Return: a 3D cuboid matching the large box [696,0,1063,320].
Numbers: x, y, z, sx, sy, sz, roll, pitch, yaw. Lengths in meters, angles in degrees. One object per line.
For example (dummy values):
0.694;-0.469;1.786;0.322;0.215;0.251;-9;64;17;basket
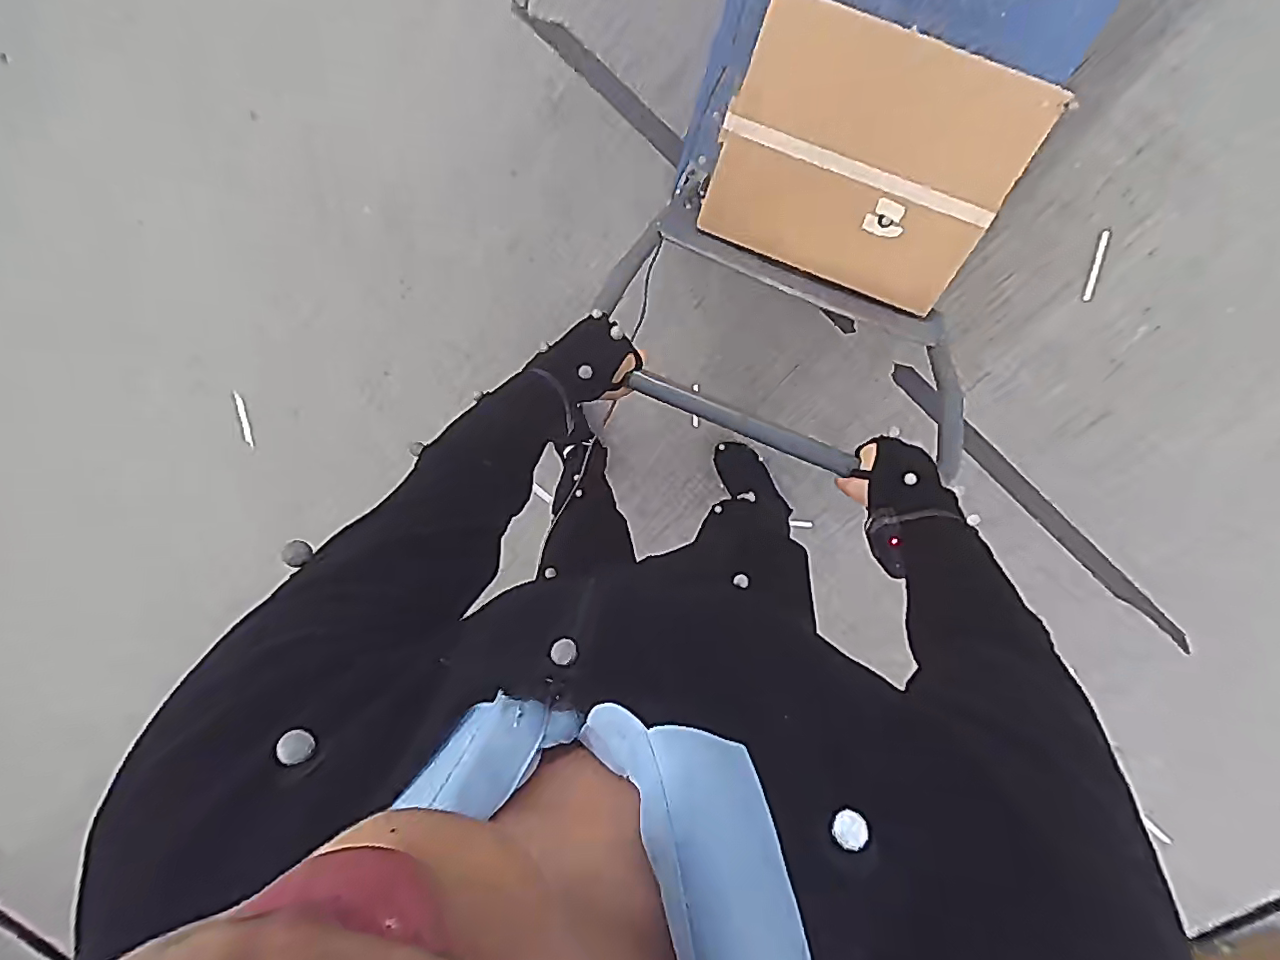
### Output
0.348;-0.525;0.898;0.408;0.320;0.320;22;131;1;large box
